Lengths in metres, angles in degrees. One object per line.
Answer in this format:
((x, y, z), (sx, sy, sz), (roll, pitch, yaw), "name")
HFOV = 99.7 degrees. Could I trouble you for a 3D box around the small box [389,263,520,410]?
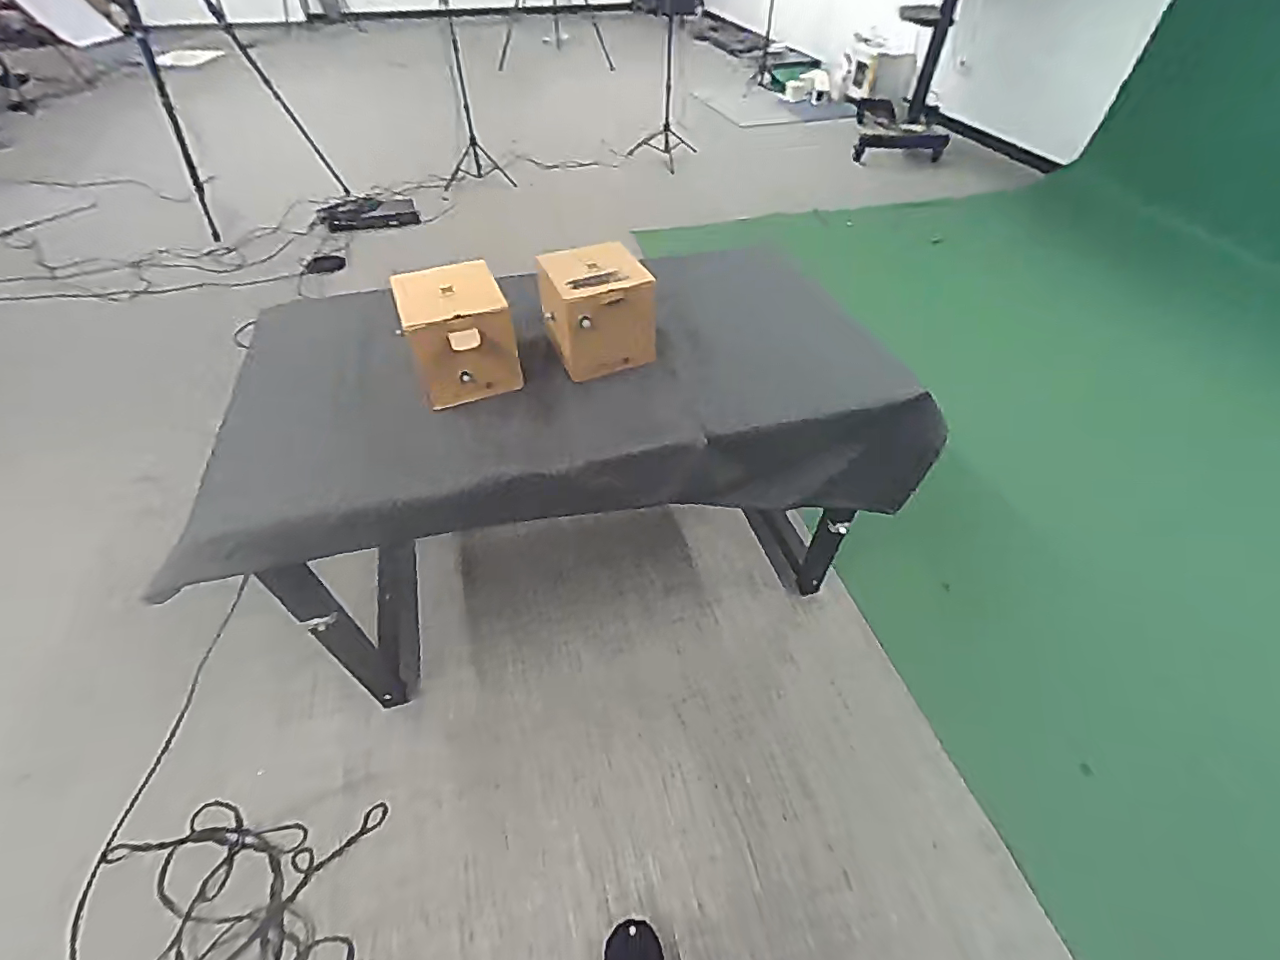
((-0.321, -0.252, 0.949), (0.168, 0.176, 0.179), (-18, 51, -17), "small box")
